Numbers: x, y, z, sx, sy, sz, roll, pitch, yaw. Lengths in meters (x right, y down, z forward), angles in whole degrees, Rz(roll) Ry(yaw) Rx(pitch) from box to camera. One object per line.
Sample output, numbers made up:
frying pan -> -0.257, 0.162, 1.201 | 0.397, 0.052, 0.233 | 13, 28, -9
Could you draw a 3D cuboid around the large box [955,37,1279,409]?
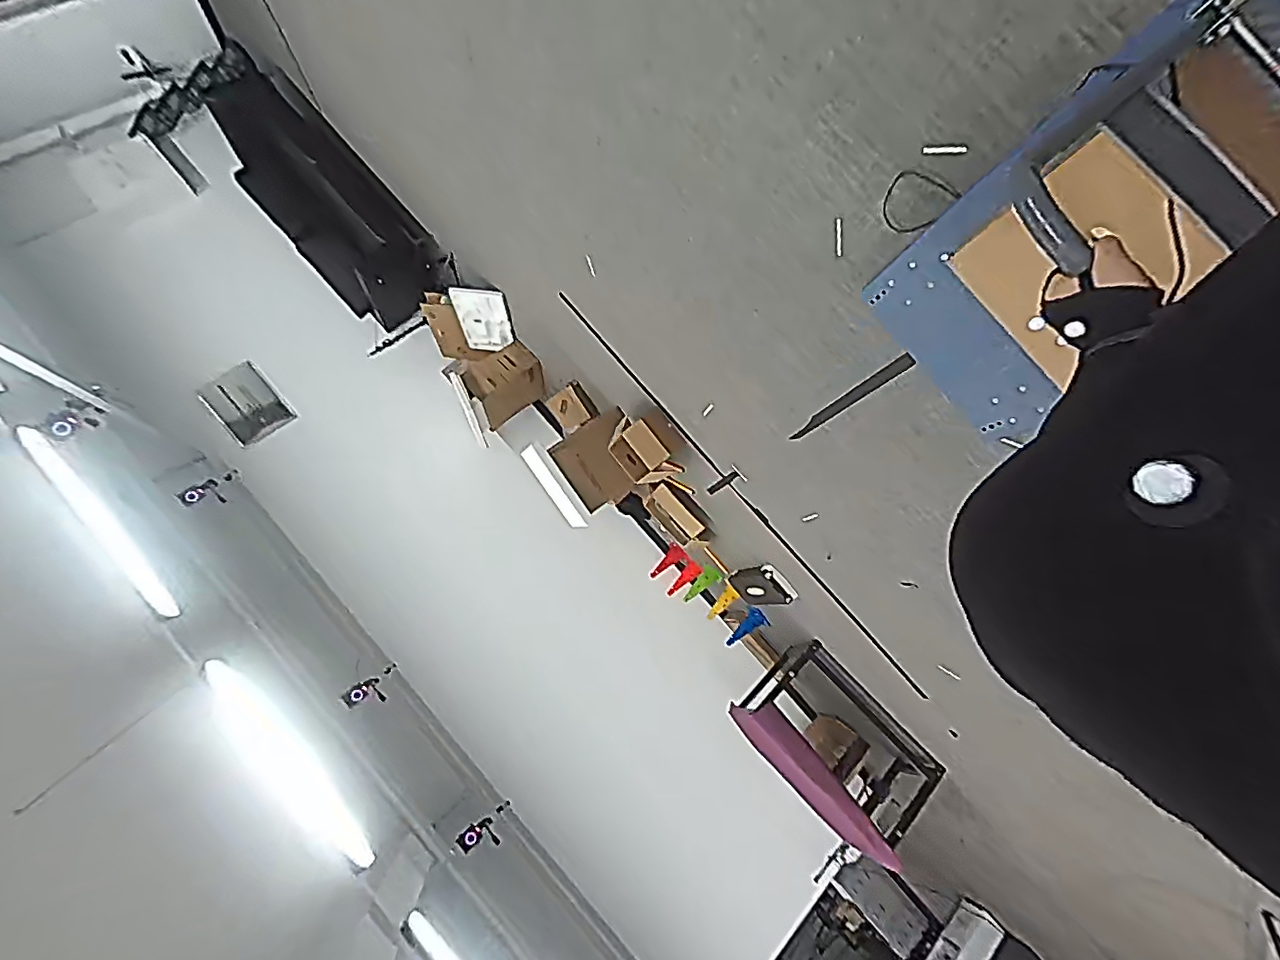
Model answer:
large box -> 0.855, -0.402, 0.901 | 0.408, 0.320, 0.320 | 50, 160, 3
